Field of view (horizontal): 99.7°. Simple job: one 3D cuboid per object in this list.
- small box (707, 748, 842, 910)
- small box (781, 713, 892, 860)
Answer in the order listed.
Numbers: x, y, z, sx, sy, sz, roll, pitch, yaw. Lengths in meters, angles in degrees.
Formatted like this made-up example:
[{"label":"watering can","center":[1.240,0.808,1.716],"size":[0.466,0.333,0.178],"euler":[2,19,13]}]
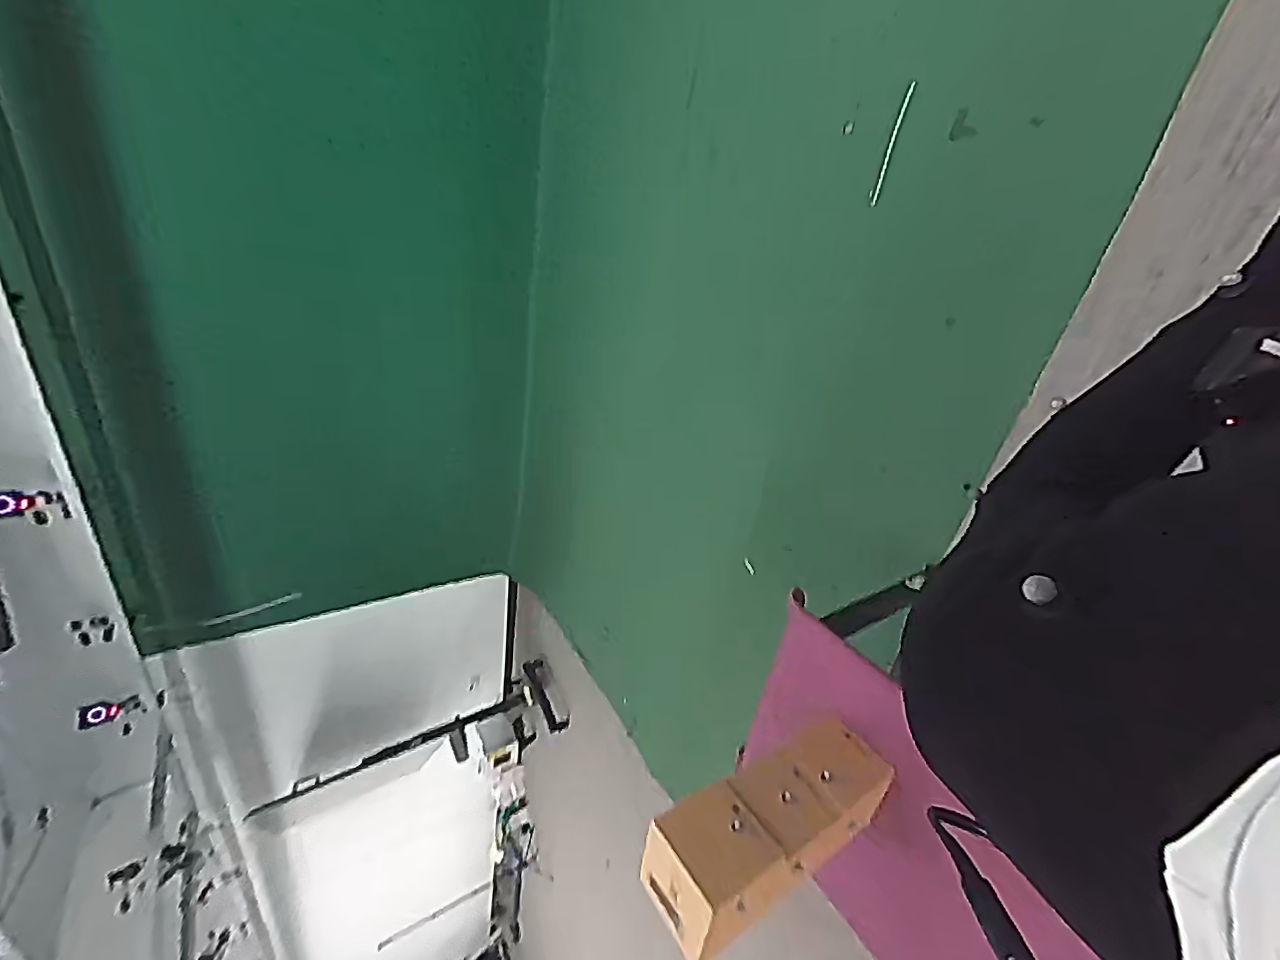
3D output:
[{"label":"small box","center":[0.259,0.662,1.045],"size":[0.168,0.176,0.179],"euler":[40,131,45]},{"label":"small box","center":[0.395,0.635,1.135],"size":[0.168,0.176,0.179],"euler":[37,129,44]}]
